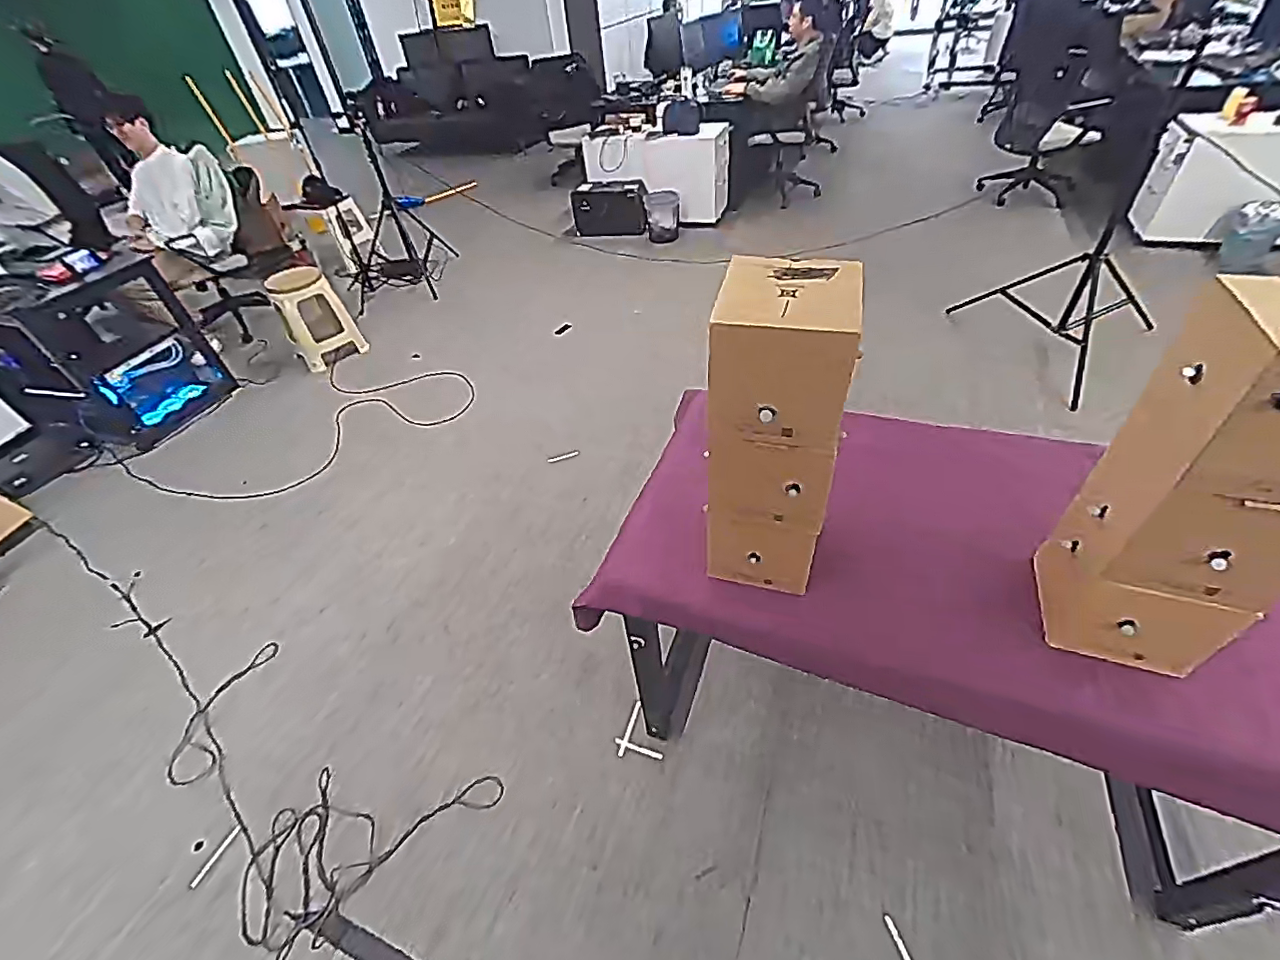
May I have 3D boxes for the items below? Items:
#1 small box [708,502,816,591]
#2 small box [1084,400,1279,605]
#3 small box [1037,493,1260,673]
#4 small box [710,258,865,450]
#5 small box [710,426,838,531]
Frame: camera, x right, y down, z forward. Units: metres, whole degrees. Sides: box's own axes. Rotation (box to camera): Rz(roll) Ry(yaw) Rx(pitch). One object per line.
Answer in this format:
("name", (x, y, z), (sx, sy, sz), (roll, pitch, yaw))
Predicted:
("small box", (0.217, 0.065, 0.928), (0.168, 0.176, 0.179), (9, 45, 15))
("small box", (0.695, 0.028, 0.672), (0.168, 0.176, 0.179), (12, 47, 20))
("small box", (0.708, 0.149, 0.782), (0.168, 0.176, 0.179), (11, 46, 19))
("small box", (0.186, -0.165, 0.697), (0.168, 0.176, 0.179), (8, 47, 14))
("small box", (0.201, -0.047, 0.811), (0.168, 0.176, 0.179), (8, 45, 14))
